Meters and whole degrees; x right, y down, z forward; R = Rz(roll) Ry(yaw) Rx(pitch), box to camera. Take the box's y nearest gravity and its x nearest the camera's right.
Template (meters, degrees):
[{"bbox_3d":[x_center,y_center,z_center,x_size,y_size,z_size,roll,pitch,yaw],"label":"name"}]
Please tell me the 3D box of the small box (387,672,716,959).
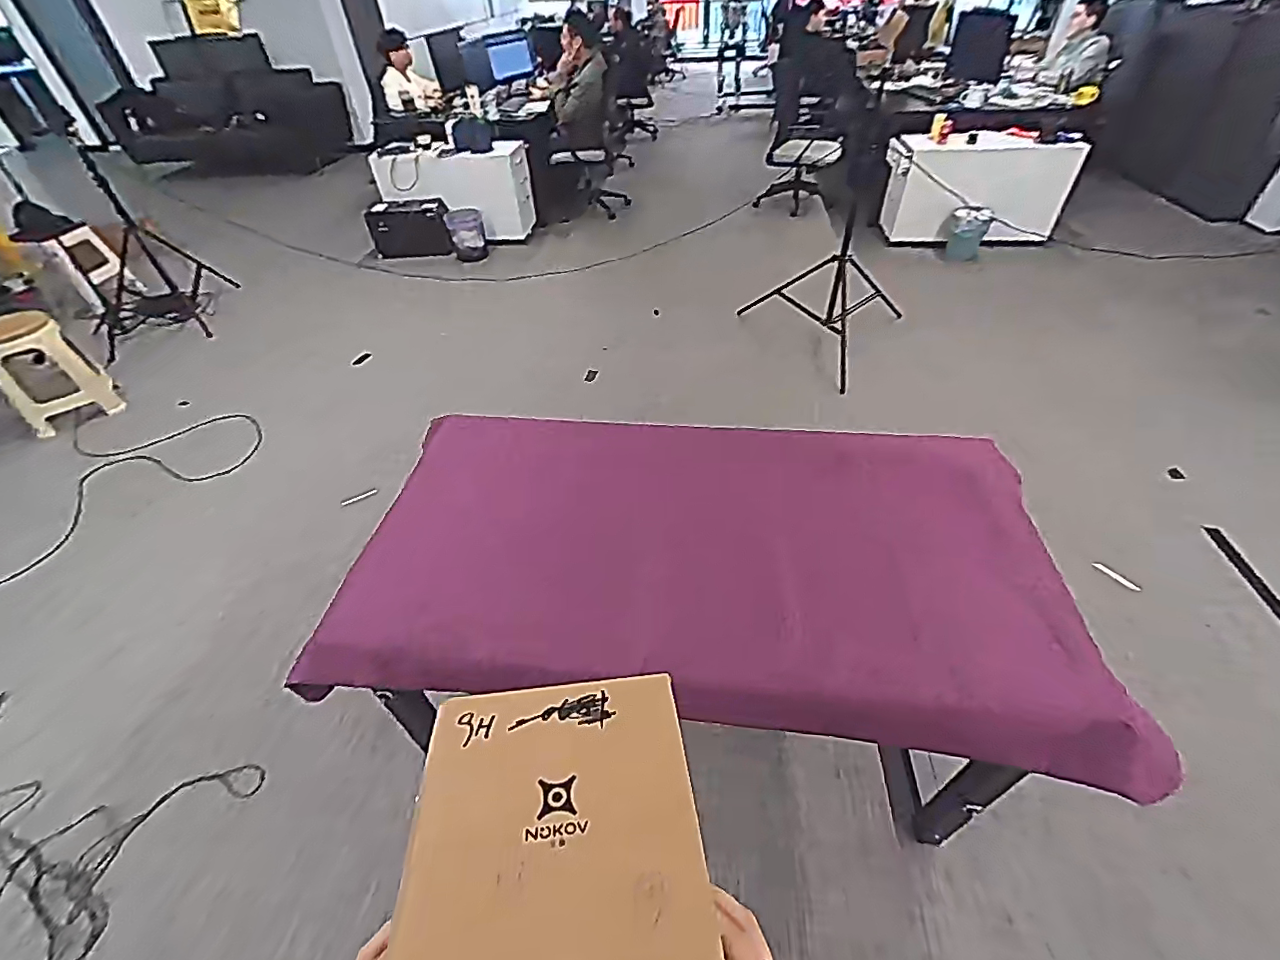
[{"bbox_3d":[-0.049,0.263,0.366,0.168,0.176,0.179,-5,34,-6],"label":"small box"}]
